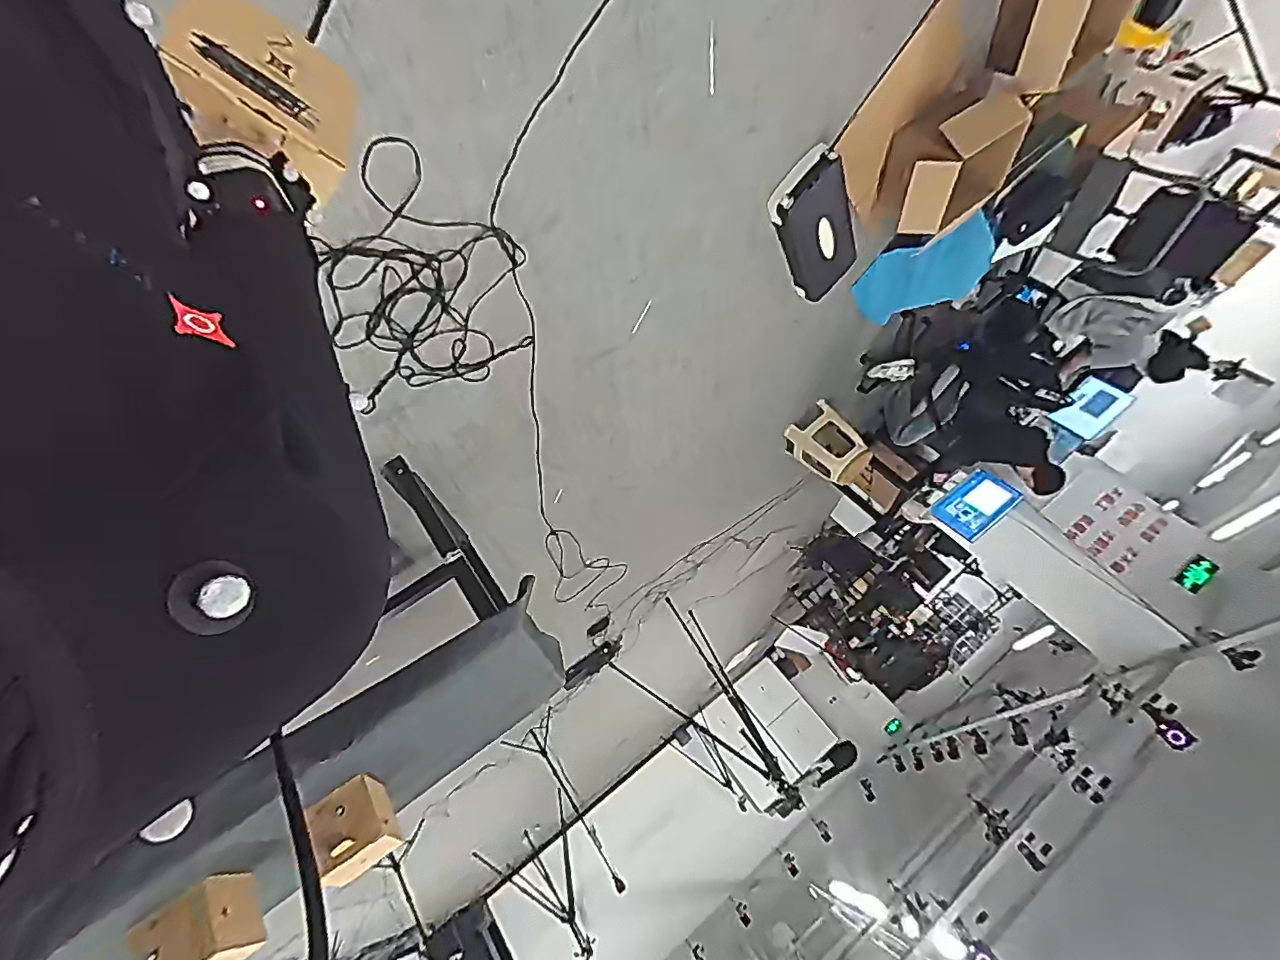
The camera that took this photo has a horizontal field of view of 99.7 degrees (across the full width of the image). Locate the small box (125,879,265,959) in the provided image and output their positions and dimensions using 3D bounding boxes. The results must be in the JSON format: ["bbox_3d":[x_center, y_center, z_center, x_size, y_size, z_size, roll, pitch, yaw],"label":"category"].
[{"bbox_3d":[-1.005,1.048,1.223,0.168,0.176,0.179,-33,152,-17],"label":"small box"}]

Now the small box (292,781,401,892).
[{"bbox_3d":[-0.734,0.891,1.358,0.168,0.176,0.179,-29,149,-24],"label":"small box"}]
